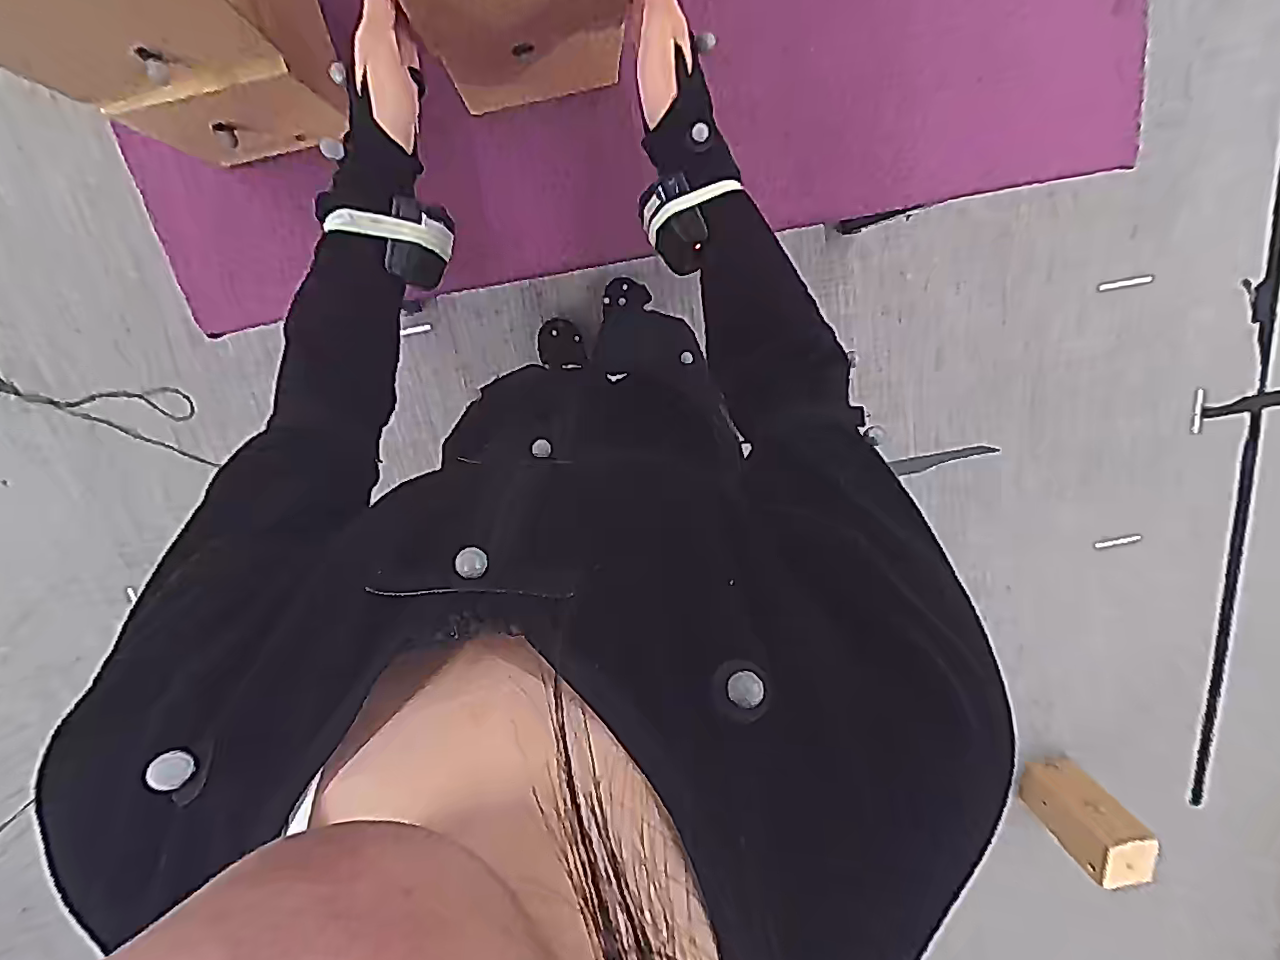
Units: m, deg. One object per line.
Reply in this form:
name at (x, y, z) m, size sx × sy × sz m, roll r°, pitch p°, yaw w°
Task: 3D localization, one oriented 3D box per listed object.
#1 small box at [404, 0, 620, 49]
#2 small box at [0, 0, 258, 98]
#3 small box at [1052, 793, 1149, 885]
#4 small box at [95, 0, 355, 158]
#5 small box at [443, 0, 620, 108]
small box at (-0.105, -0.440, 0.377) m, size 0.179 × 0.176 × 0.168 m, roll -11°, pitch 108°, yaw -4°
small box at (-0.401, -0.395, 0.359) m, size 0.179 × 0.176 × 0.168 m, roll -17°, pitch 106°, yaw -1°
small box at (1.492, 1.165, 1.763) m, size 0.168 × 0.176 × 0.179 m, roll -8°, pitch 106°, yaw -4°
small box at (-0.410, -0.434, 0.518) m, size 0.168 × 0.176 × 0.179 m, roll -15°, pitch 106°, yaw -1°
small box at (-0.122, -0.497, 0.528) m, size 0.179 × 0.176 × 0.168 m, roll -14°, pitch 107°, yaw -2°
